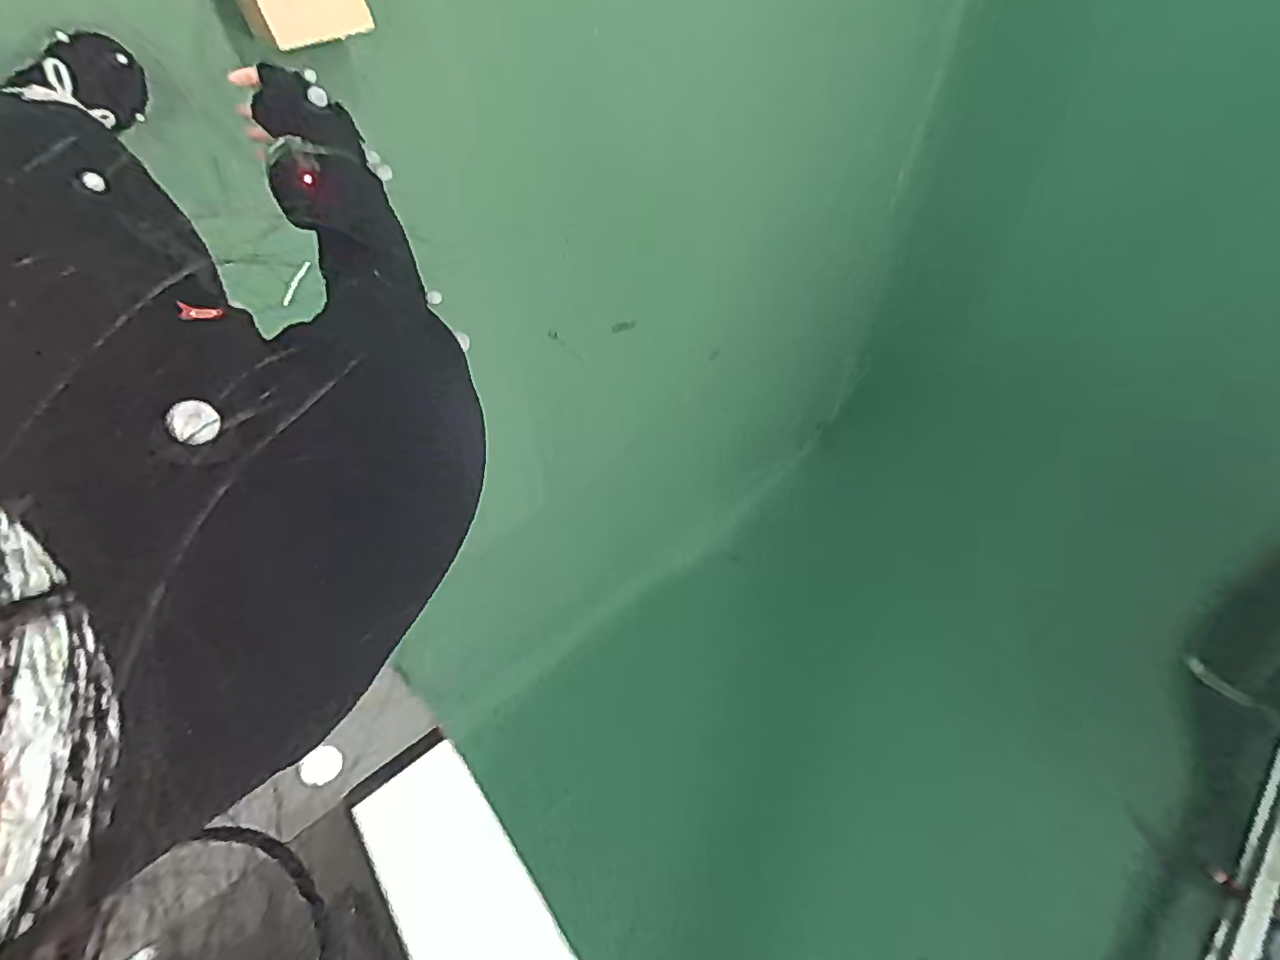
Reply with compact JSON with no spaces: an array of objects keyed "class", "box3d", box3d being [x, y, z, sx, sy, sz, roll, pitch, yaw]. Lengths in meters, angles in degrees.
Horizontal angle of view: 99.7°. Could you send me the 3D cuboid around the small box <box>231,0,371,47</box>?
[{"class":"small box","box3d":[-0.608,-0.871,0.928,0.179,0.176,0.168,-35,143,-23]}]
